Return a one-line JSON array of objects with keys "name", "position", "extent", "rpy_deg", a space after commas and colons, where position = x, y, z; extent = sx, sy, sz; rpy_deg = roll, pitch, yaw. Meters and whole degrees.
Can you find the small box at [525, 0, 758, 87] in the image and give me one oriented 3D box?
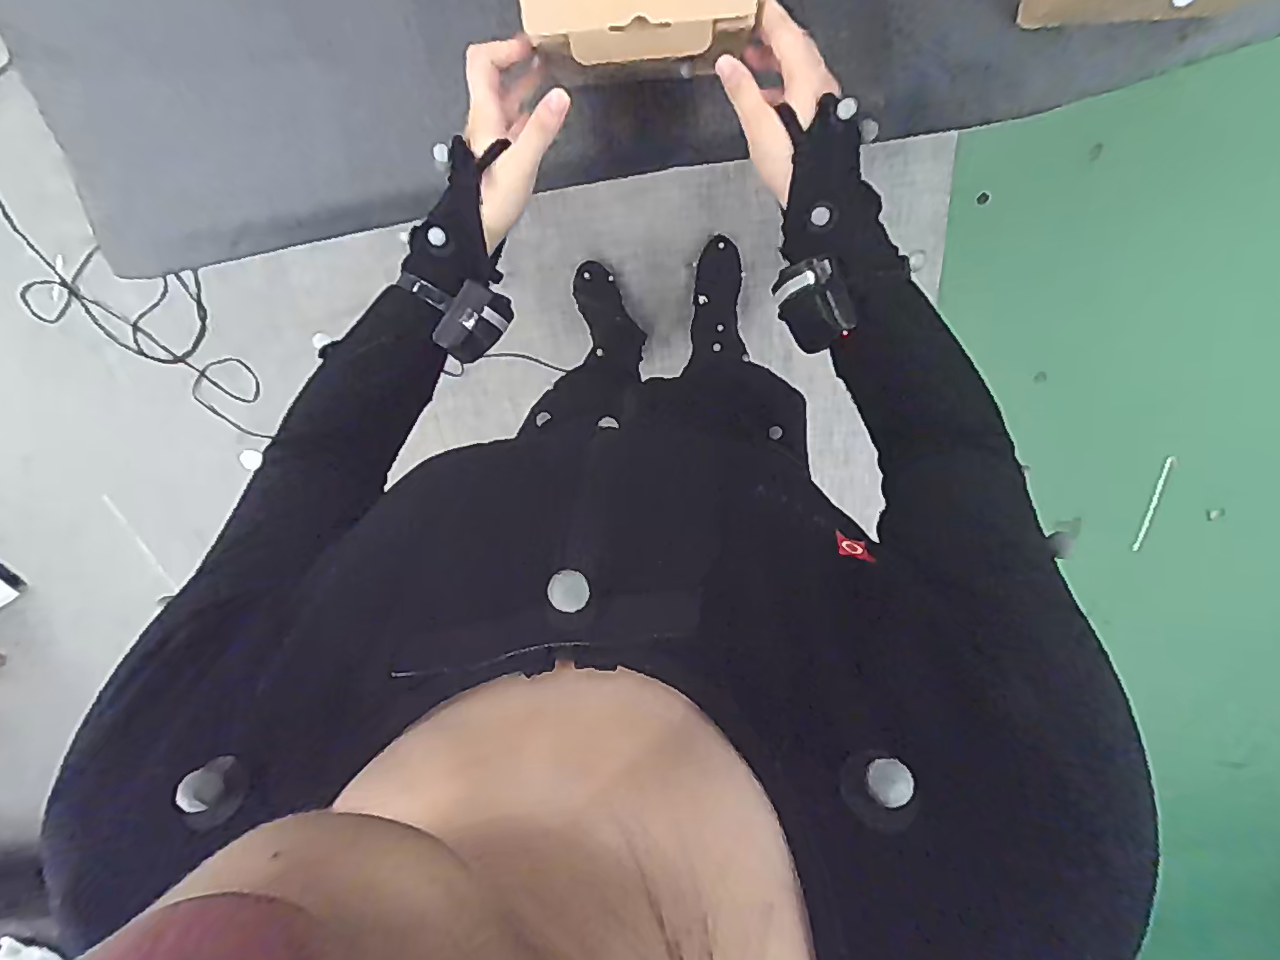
[{"name": "small box", "position": [0.001, -0.424, 0.418], "extent": [0.168, 0.176, 0.179], "rpy_deg": [-3, 117, 4]}]
